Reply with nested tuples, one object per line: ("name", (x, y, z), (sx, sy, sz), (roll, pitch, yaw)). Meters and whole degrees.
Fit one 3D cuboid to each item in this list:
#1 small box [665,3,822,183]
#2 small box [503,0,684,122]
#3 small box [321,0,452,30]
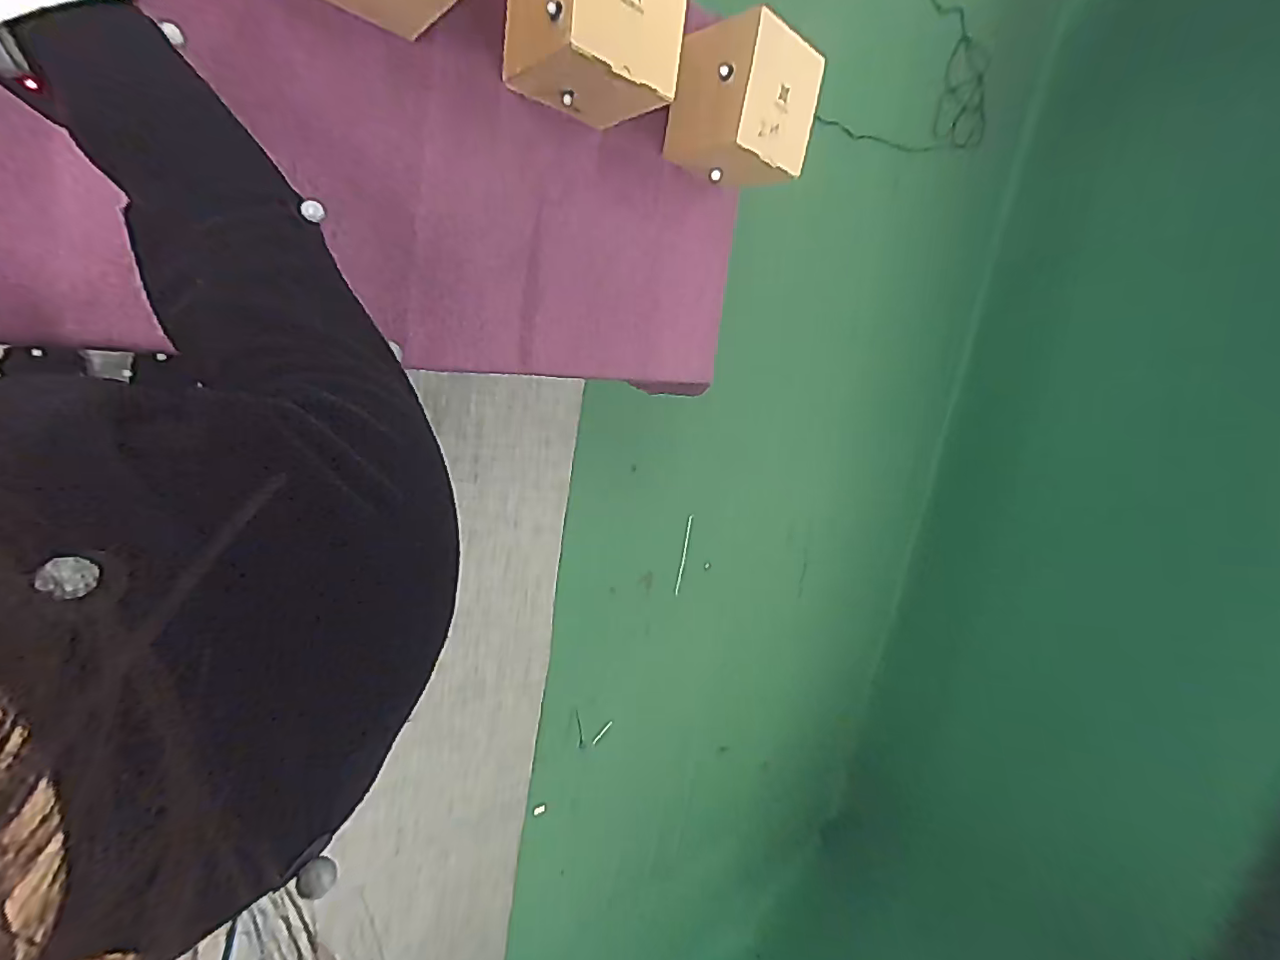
("small box", (0.160, -0.604, 0.875), (0.168, 0.176, 0.179), (-2, 109, -40))
("small box", (-0.062, -0.595, 0.690), (0.168, 0.176, 0.179), (-5, 110, -40))
("small box", (-0.276, -0.571, 0.508), (0.179, 0.176, 0.168), (-3, 107, -40))
